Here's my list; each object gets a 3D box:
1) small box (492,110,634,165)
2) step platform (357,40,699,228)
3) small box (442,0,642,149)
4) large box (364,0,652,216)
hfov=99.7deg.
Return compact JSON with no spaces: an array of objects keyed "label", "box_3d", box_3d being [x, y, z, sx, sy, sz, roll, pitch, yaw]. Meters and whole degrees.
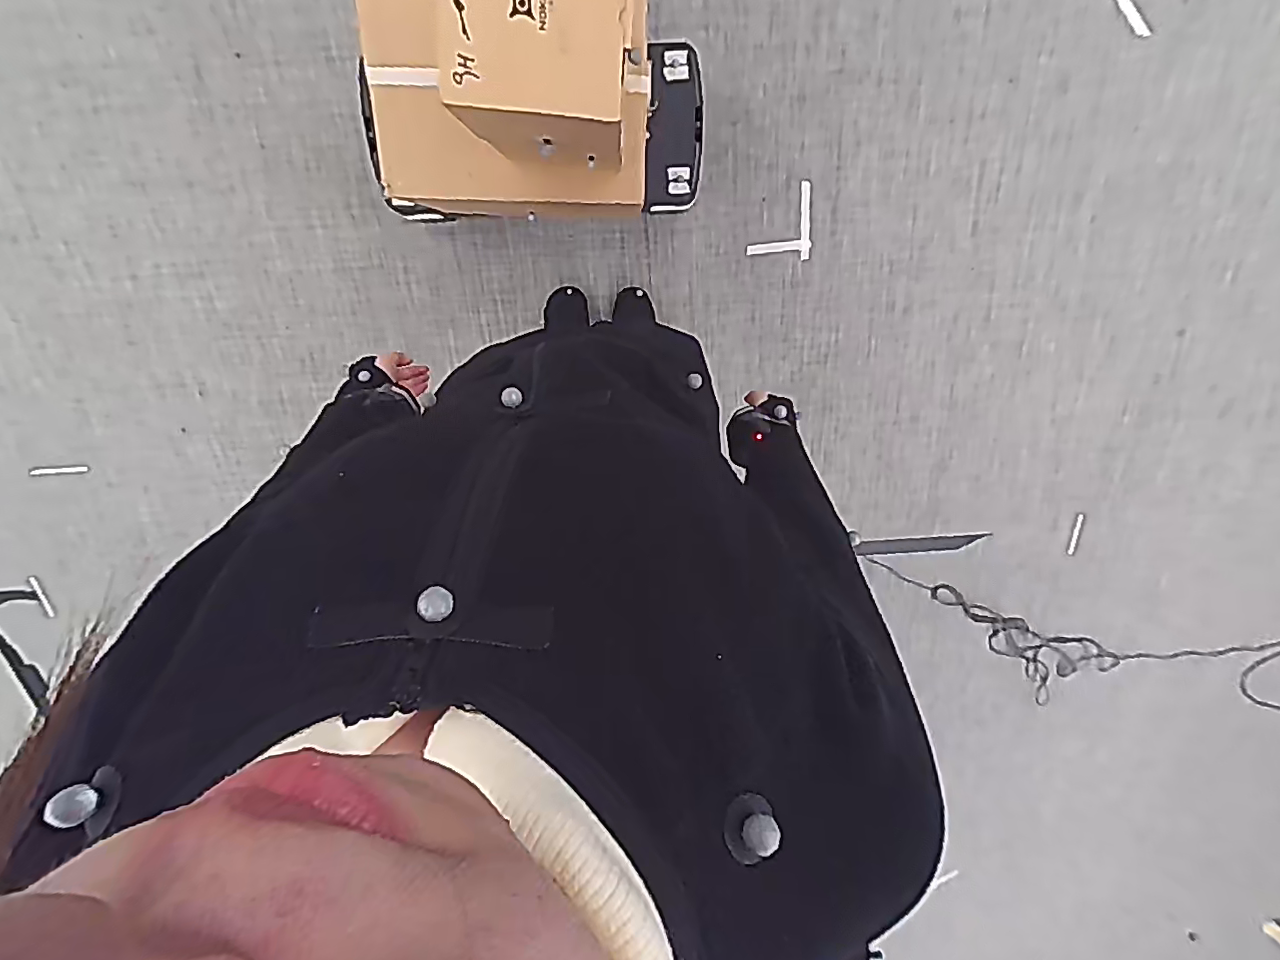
[{"label":"small box","box_3d":[-0.095,-0.518,0.701,0.179,0.176,0.168,3,112,-2]},{"label":"step platform","box_3d":[-0.217,-0.711,1.140,0.684,0.204,0.286,2,112,-2]},{"label":"small box","box_3d":[-0.091,-0.453,0.551,0.179,0.176,0.168,4,111,-4]},{"label":"large box","box_3d":[-0.183,-0.627,0.918,0.408,0.320,0.320,0,111,-1]}]
